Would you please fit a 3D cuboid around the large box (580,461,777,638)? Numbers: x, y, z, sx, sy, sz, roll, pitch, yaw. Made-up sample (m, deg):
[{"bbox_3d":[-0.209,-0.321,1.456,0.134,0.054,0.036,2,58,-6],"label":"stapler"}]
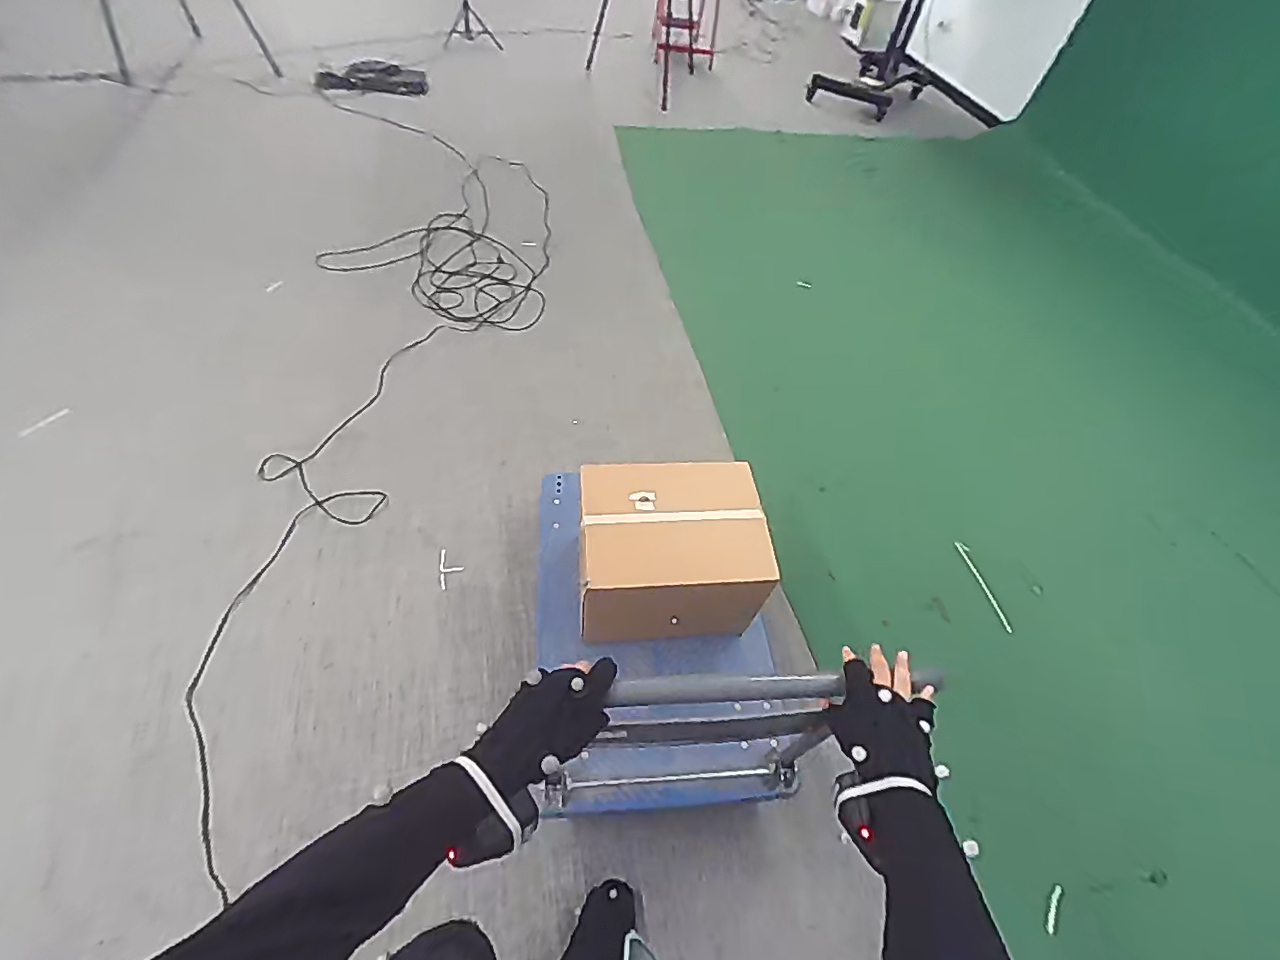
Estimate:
[{"bbox_3d":[0.065,0.173,1.308,0.408,0.320,0.320,-2,54,-7],"label":"large box"}]
